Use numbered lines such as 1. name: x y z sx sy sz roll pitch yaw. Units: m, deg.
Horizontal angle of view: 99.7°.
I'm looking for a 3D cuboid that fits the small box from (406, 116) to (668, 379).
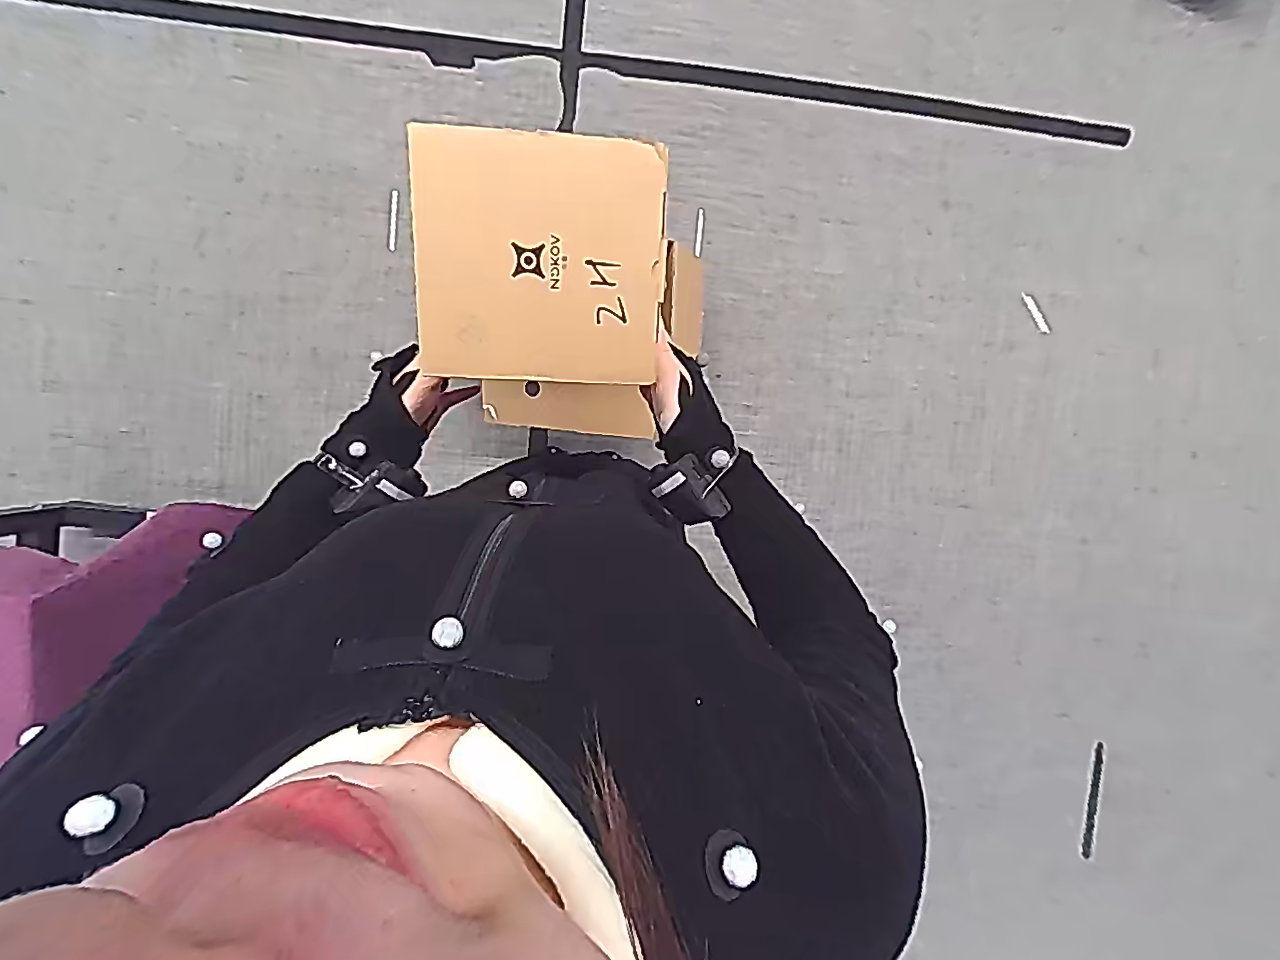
1. small box: -0.077 -0.178 0.456 0.179 0.176 0.168 1 106 -5
